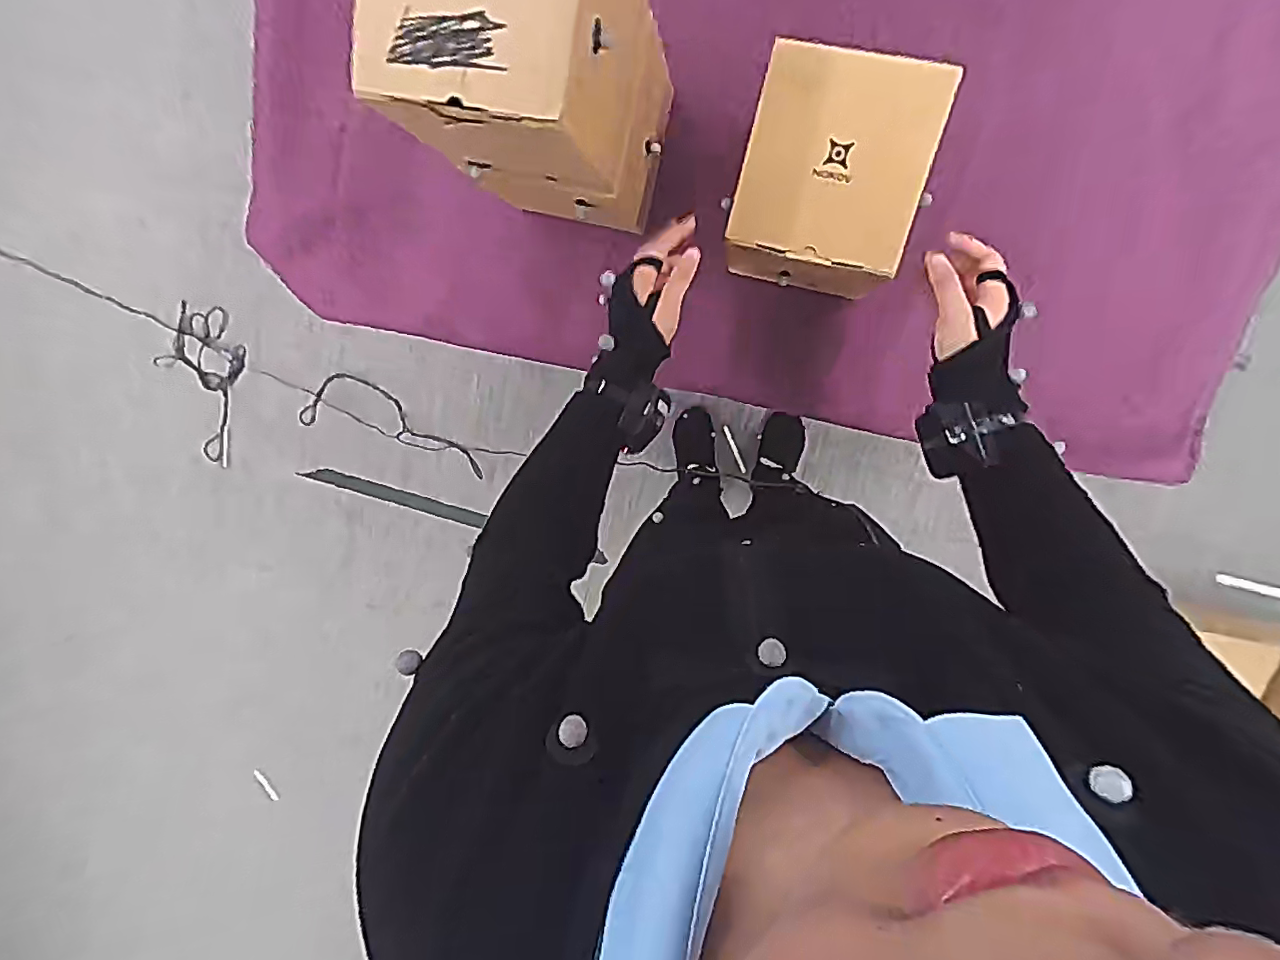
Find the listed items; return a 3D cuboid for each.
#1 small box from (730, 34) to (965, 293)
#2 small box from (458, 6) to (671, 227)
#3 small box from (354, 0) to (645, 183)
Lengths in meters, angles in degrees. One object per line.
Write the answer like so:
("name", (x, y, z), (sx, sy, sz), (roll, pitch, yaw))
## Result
("small box", (0.196, -0.311, 0.568), (0.168, 0.176, 0.179), (15, 105, 7))
("small box", (-0.071, -0.396, 0.599), (0.179, 0.176, 0.168), (16, 105, 7))
("small box", (-0.099, -0.366, 0.440), (0.168, 0.176, 0.179), (14, 104, 7))
